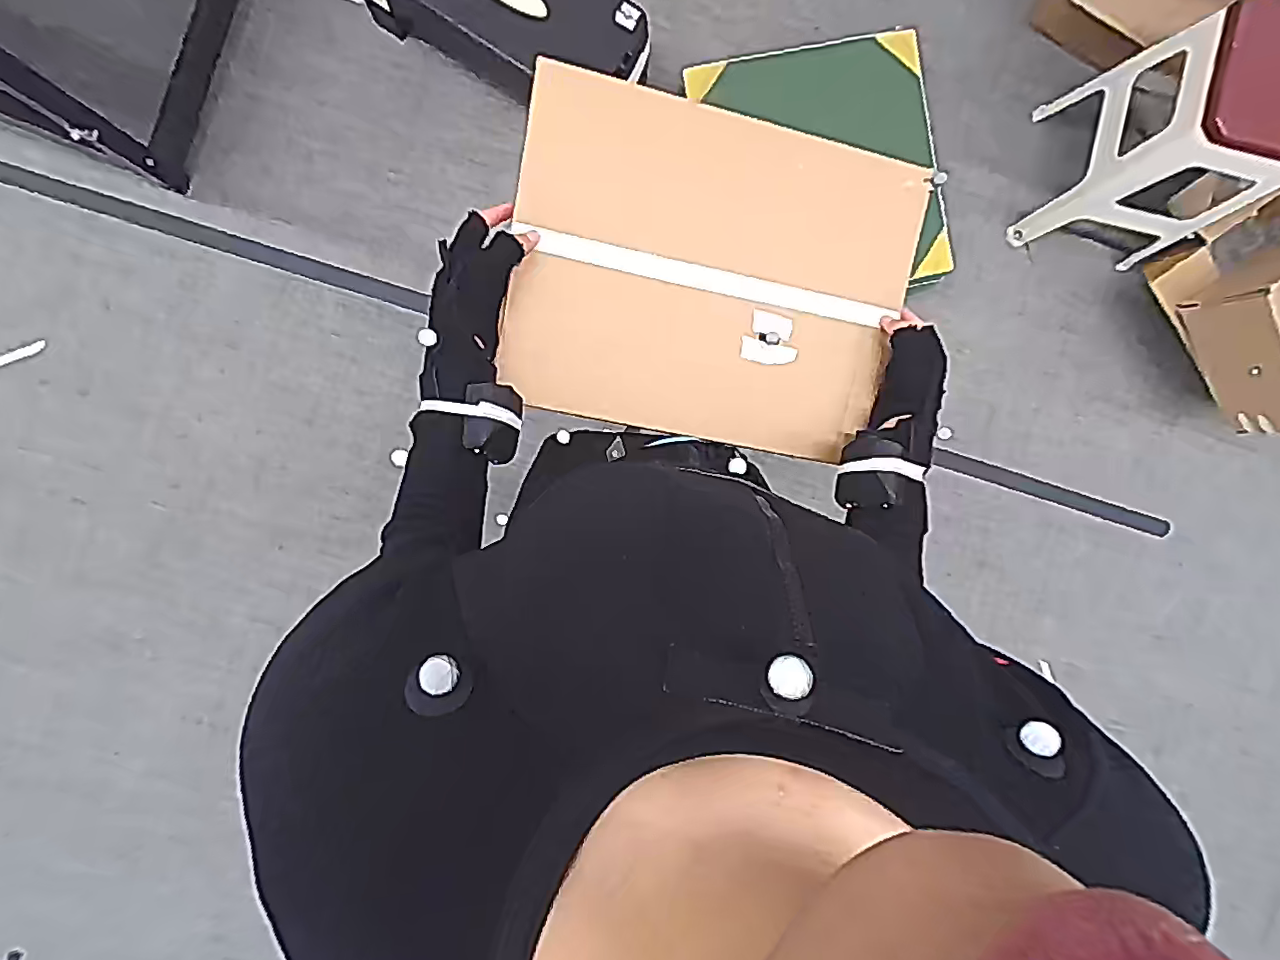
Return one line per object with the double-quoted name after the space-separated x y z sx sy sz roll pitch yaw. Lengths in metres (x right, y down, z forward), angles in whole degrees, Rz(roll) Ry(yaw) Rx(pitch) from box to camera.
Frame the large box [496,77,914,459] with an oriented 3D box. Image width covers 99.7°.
0.050 -0.224 0.703 0.408 0.320 0.320 10 98 -10 "large box"
